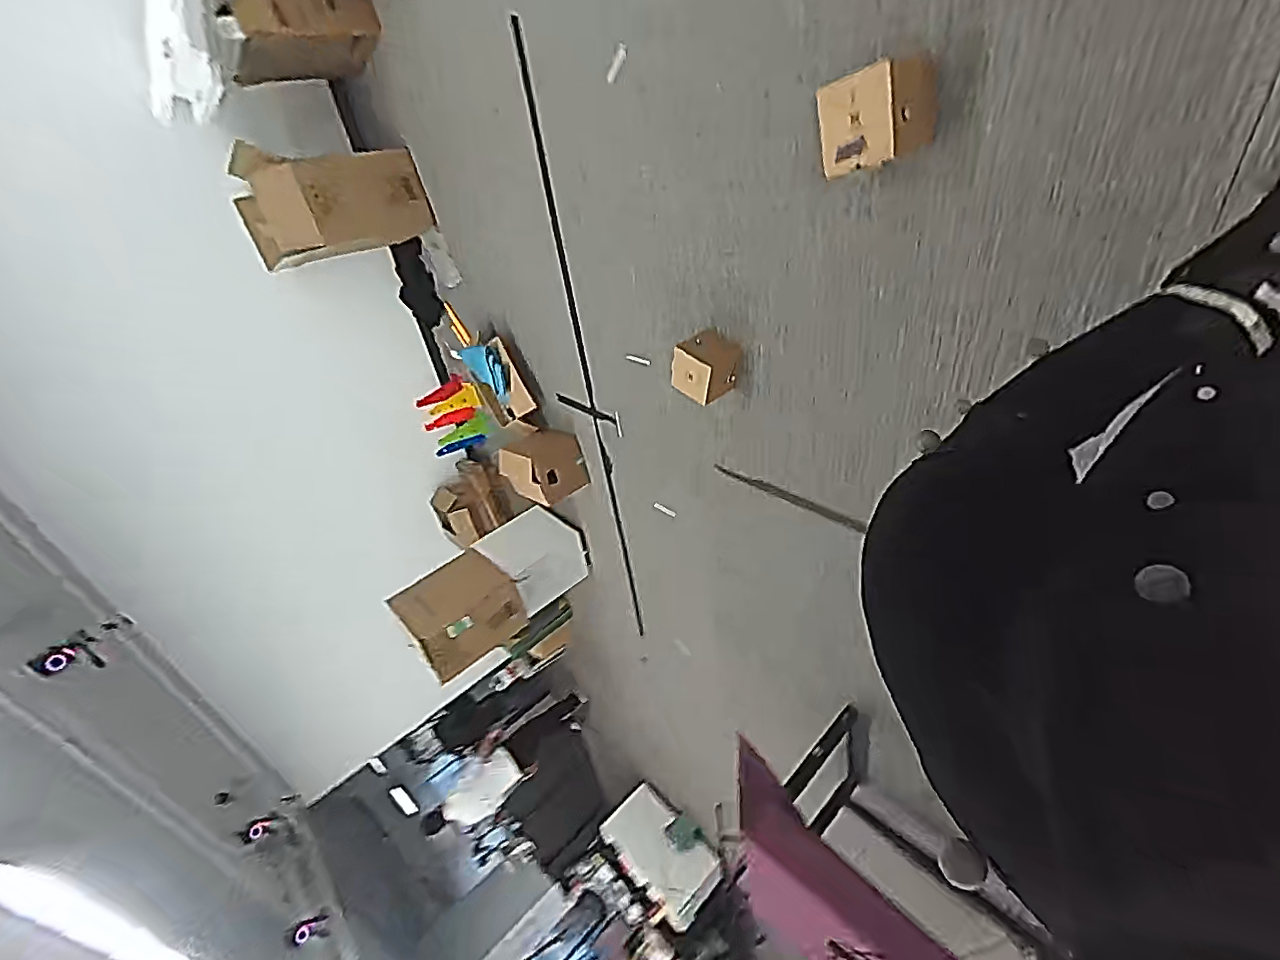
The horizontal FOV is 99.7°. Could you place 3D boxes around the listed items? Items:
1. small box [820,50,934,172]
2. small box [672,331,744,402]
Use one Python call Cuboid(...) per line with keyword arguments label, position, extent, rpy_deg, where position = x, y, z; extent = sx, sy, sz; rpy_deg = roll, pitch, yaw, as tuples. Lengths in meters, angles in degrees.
Cuboid(label="small box", position=(0.520, -0.799, 1.176), extent=(0.168, 0.176, 0.179), rpy_deg=(15, 128, 50))
Cuboid(label="small box", position=(0.240, -0.412, 1.929), extent=(0.179, 0.176, 0.168), rpy_deg=(38, 145, 29))
